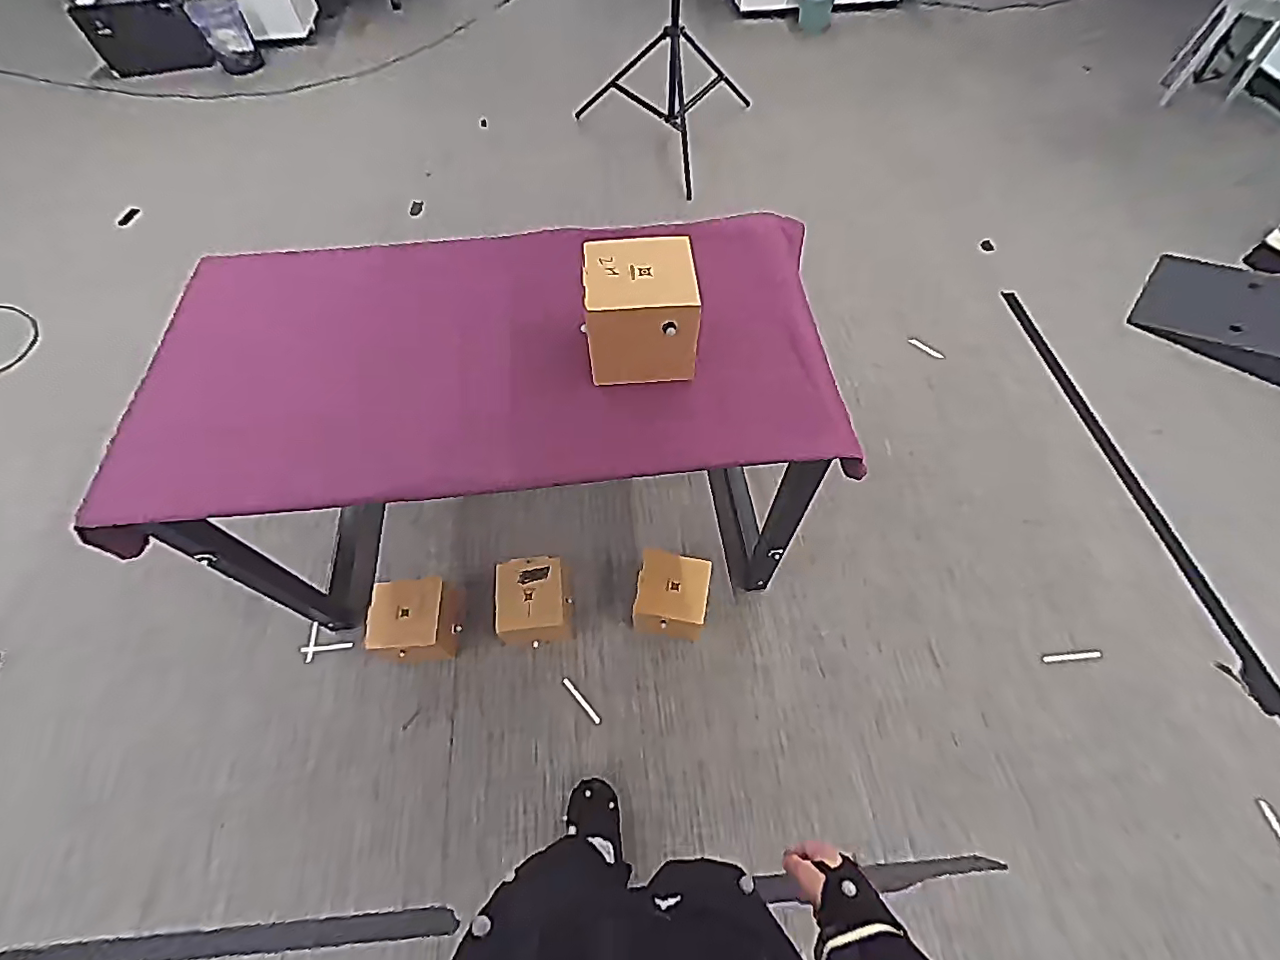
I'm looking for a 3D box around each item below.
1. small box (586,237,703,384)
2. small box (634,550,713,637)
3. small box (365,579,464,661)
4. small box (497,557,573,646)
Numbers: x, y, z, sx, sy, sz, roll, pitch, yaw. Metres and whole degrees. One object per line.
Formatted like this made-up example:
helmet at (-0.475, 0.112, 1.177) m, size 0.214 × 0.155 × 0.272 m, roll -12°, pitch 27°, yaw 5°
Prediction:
small box at (0.004, -0.279, 0.906) m, size 0.179 × 0.176 × 0.168 m, roll -4°, pitch 59°, yaw 0°
small box at (0.088, 0.301, 1.412) m, size 0.179 × 0.176 × 0.168 m, roll 9°, pitch 61°, yaw 8°
small box at (-0.570, 0.364, 1.390) m, size 0.179 × 0.176 × 0.168 m, roll -3°, pitch 60°, yaw -2°
small box at (-0.268, 0.320, 1.407) m, size 0.168 × 0.176 × 0.179 m, roll -6°, pitch 61°, yaw -2°
